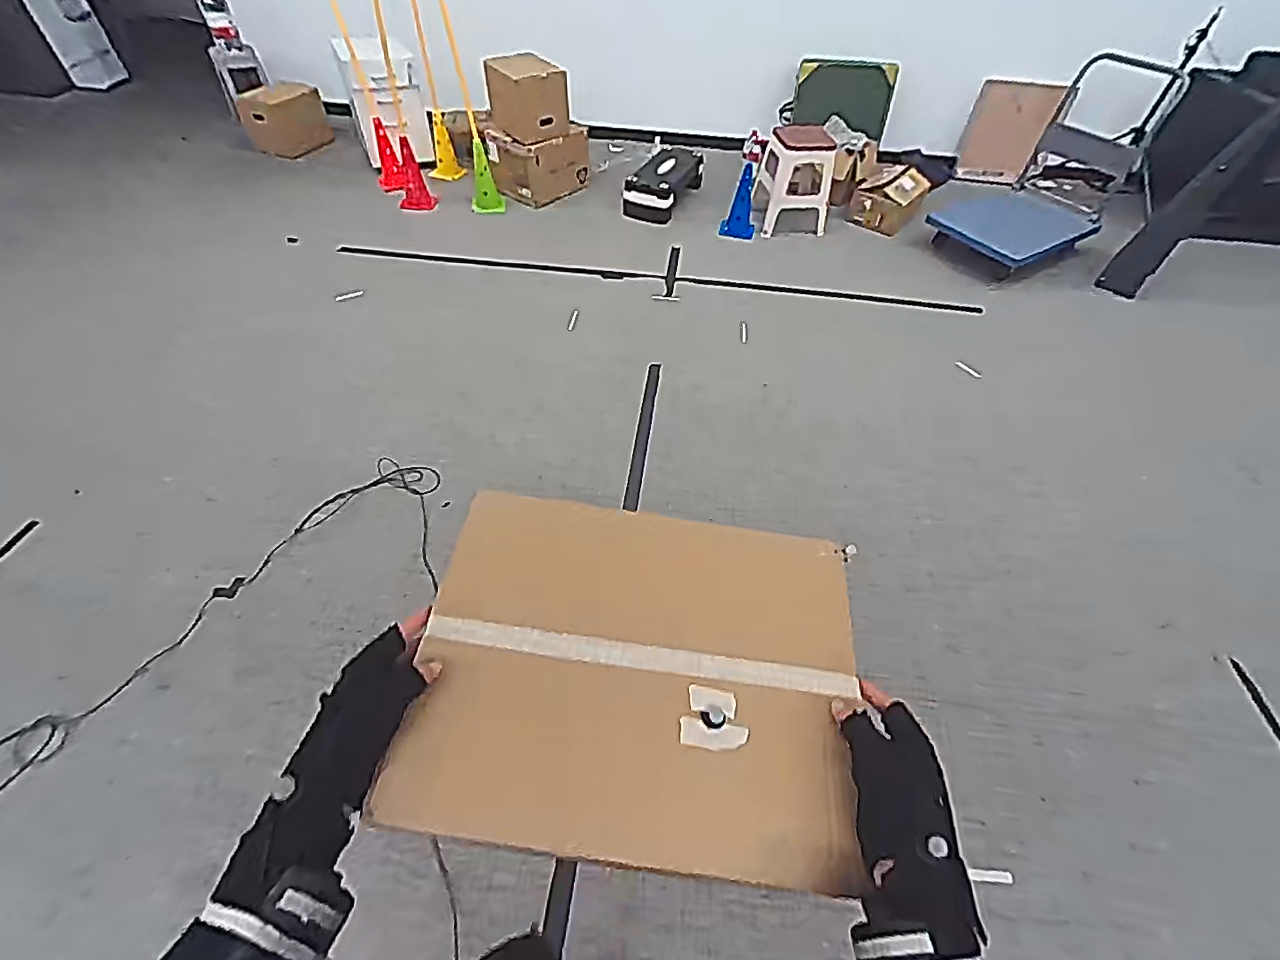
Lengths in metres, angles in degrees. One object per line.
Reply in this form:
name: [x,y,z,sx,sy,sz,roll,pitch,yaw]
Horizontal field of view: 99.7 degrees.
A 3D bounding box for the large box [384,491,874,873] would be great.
large box: [-0.007,0.246,0.633,0.408,0.320,0.320,9,55,0]
